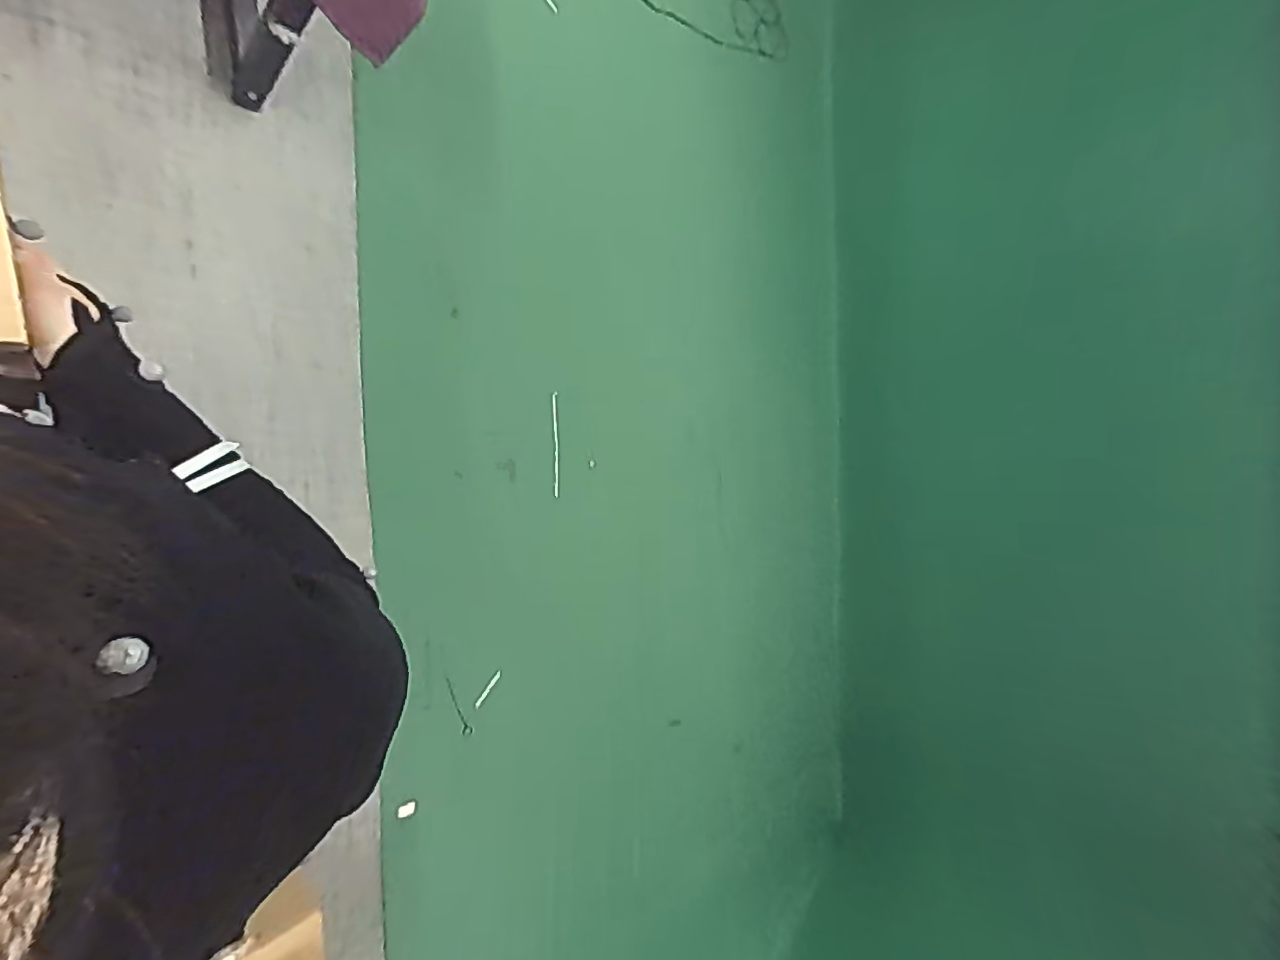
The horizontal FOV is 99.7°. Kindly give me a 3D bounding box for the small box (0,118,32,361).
[{"bbox_3d":[-0.481,-0.164,0.309,0.168,0.176,0.179,-9,100,-48],"label":"small box"}]
